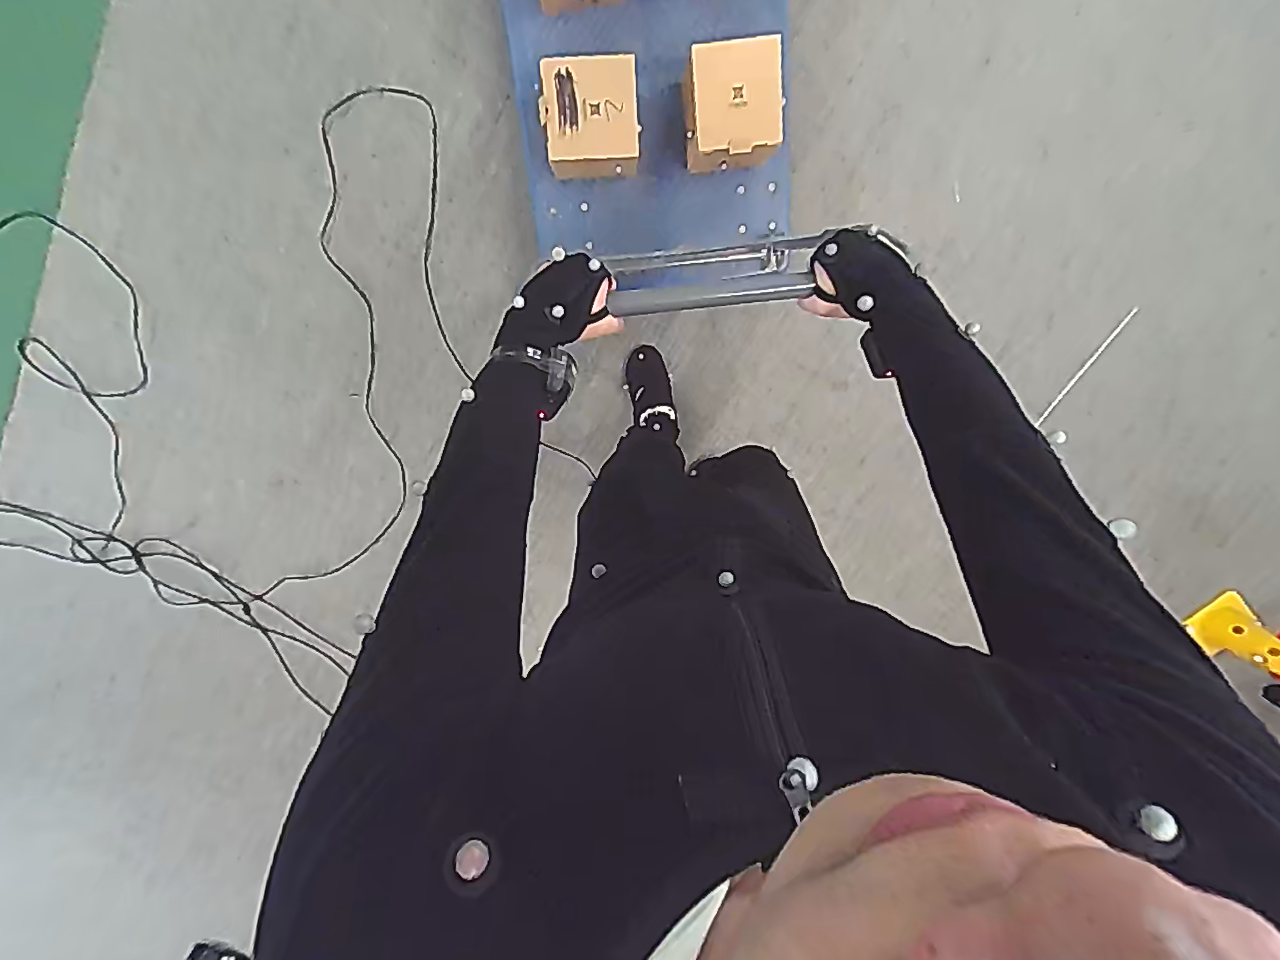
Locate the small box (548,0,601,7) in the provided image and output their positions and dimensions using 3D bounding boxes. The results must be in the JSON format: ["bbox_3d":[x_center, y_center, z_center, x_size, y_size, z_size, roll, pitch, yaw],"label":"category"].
[{"bbox_3d":[-0.114,-0.999,0.975,0.168,0.176,0.179,-10,109,0],"label":"small box"}]

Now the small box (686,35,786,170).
[{"bbox_3d":[0.187,-0.740,1.078,0.168,0.176,0.179,-6,110,0],"label":"small box"}]
